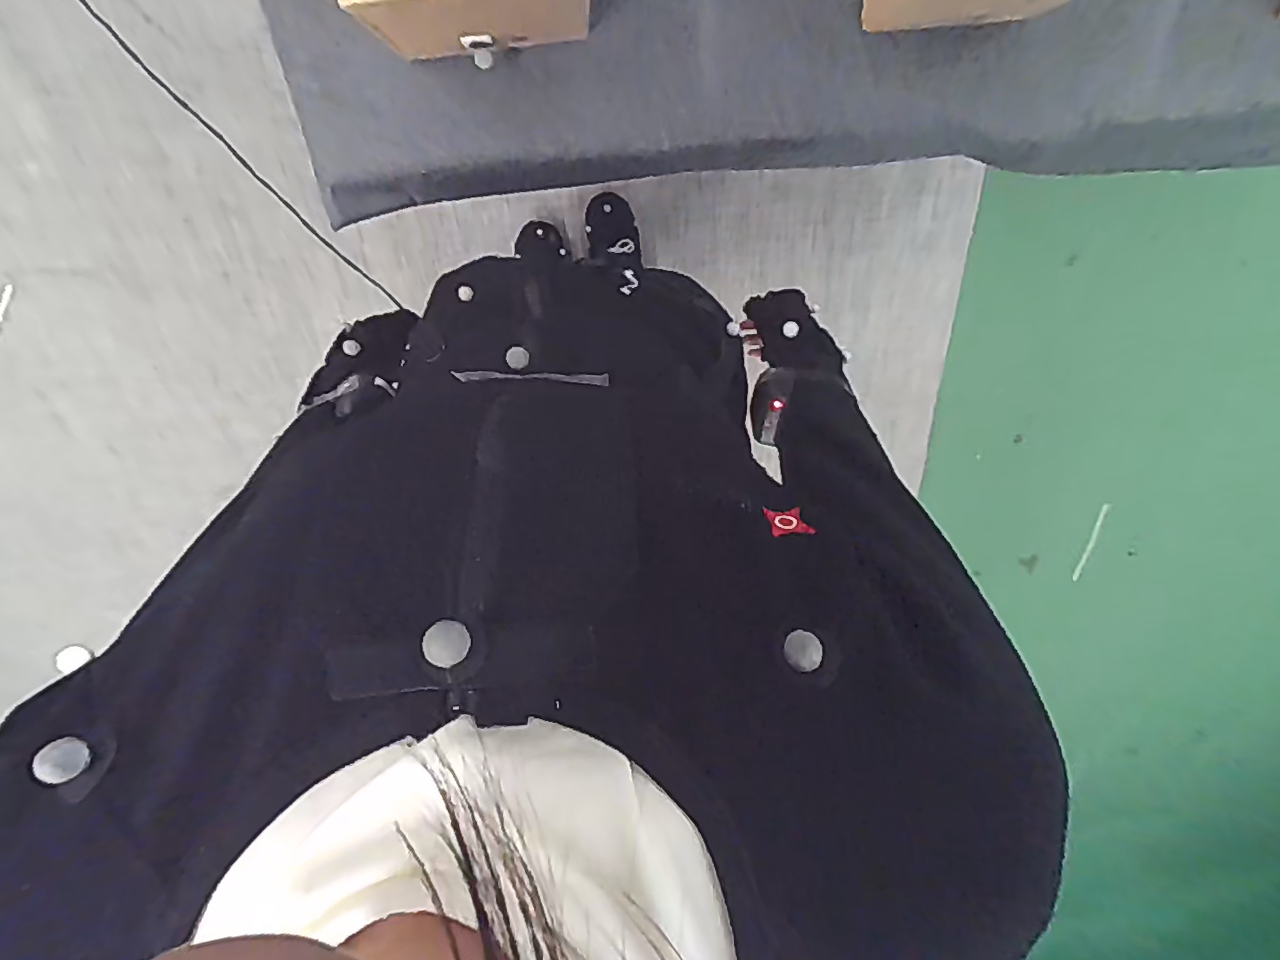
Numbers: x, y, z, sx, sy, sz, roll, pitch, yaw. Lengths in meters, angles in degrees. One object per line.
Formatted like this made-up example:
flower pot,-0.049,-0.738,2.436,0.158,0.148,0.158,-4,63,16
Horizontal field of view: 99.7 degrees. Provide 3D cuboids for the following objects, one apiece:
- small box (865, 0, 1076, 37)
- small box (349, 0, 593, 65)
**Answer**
small box,0.291,-0.473,0.410,0.168,0.176,0.179,-6,117,-3
small box,-0.128,-0.429,0.383,0.168,0.176,0.179,-9,118,-1
